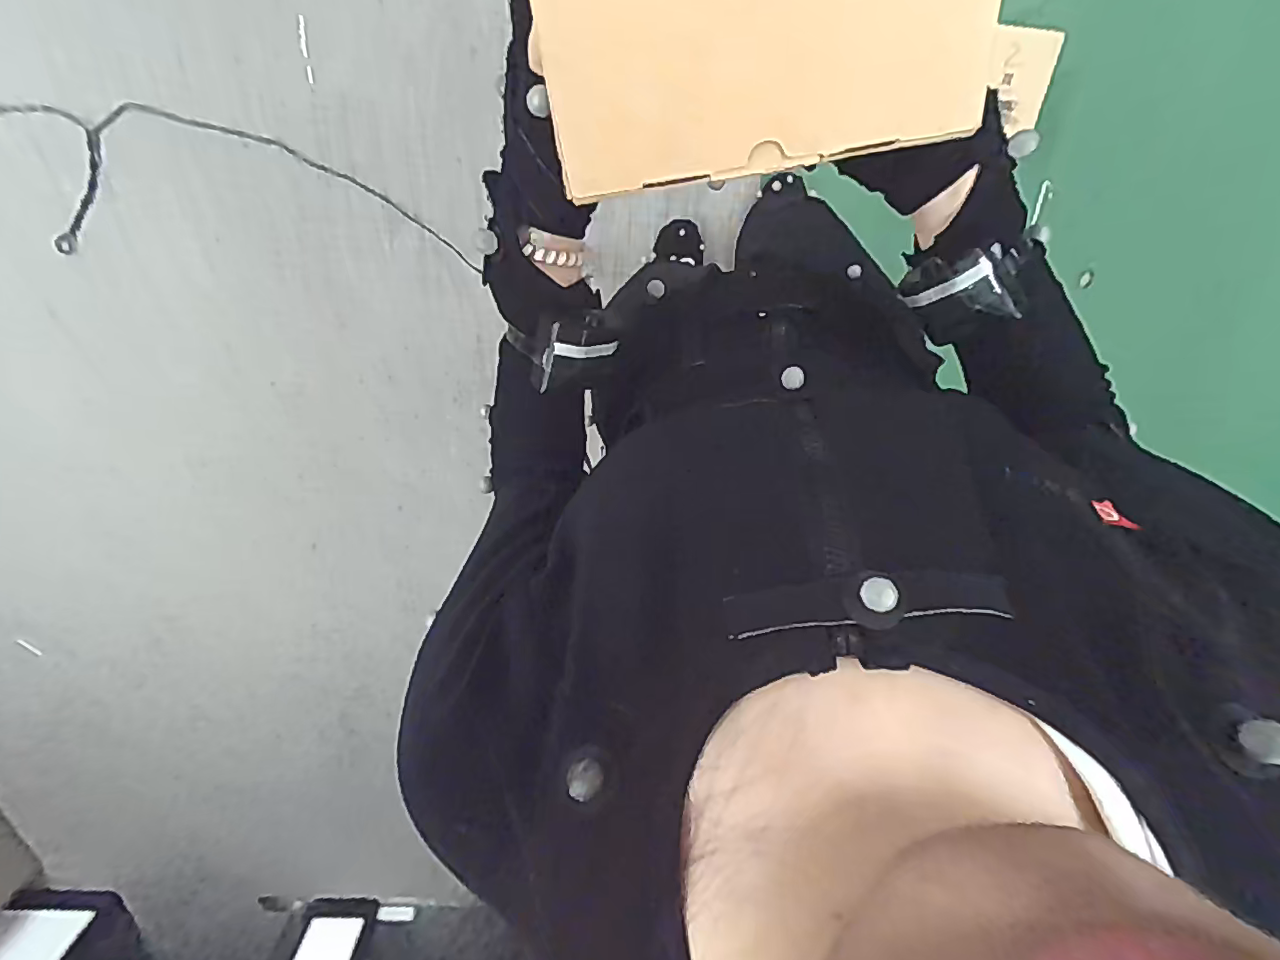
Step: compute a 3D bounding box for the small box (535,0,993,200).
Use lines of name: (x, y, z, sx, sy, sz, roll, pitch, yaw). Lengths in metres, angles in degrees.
small box: (0.041, -0.244, 0.247, 0.168, 0.176, 0.179, -6, 123, 8)
